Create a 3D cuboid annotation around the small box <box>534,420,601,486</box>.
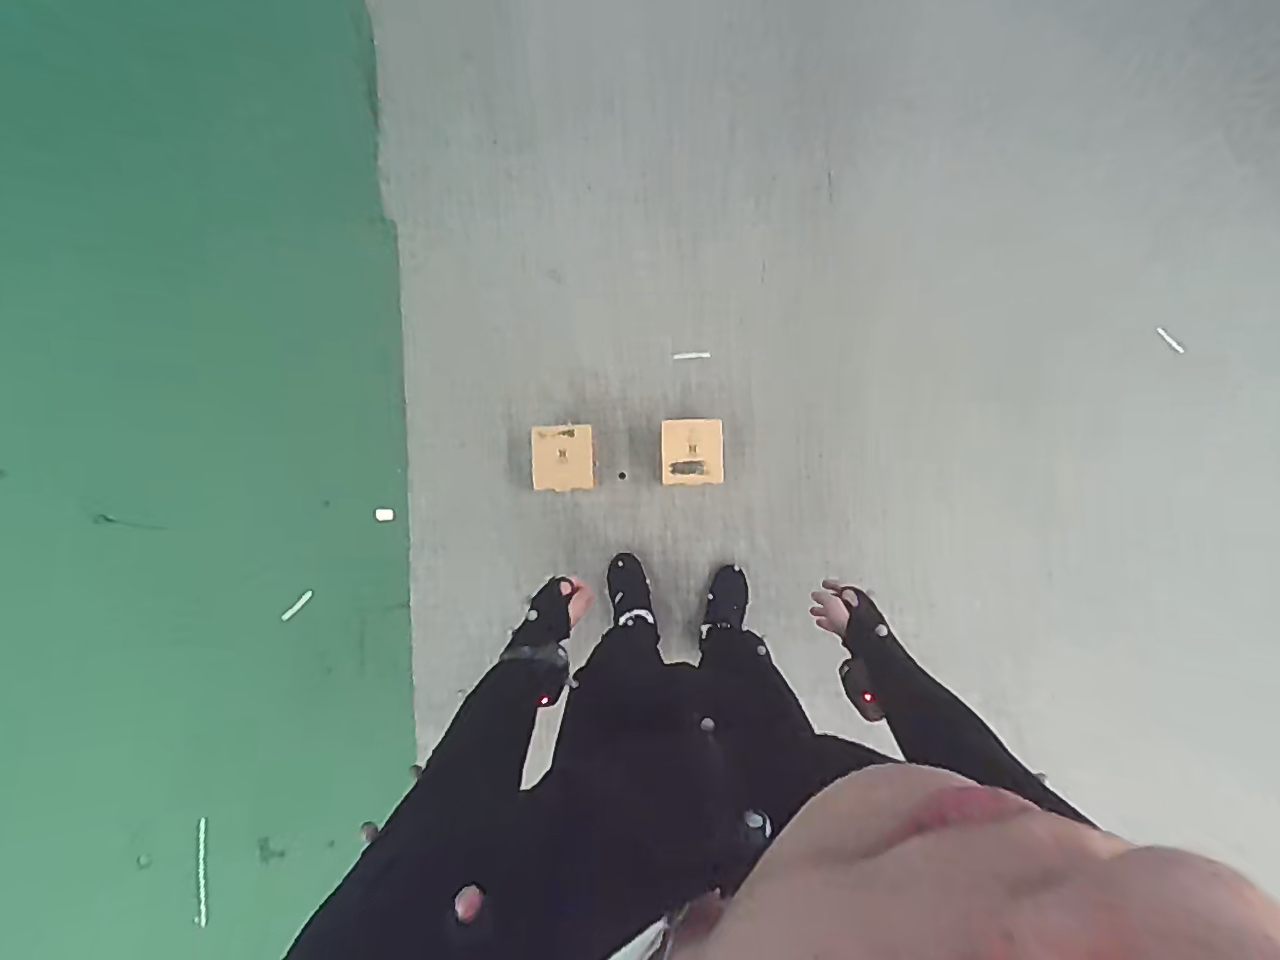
[{"bbox_3d":[-0.200,-0.071,1.525,0.168,0.176,0.179,-1,88,2],"label":"small box"}]
